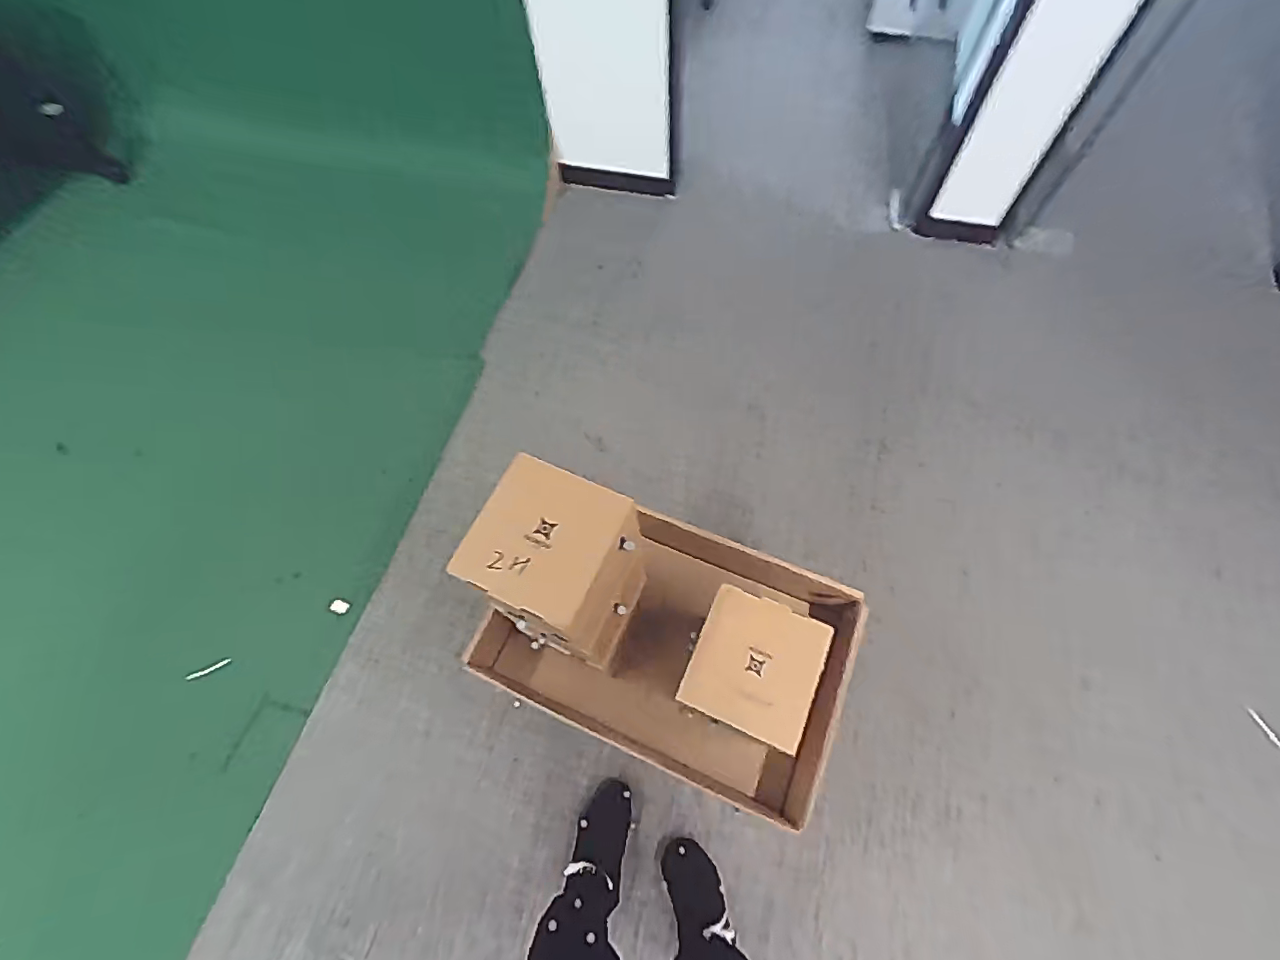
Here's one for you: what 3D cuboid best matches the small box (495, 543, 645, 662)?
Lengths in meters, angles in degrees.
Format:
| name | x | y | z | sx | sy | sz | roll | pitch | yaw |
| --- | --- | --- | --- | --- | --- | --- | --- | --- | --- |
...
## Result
| name | x | y | z | sx | sy | sz | roll | pitch | yaw |
| --- | --- | --- | --- | --- | --- | --- | --- | --- | --- |
| small box | -0.101 | 0.171 | 0.868 | 0.168 | 0.176 | 0.179 | 23 | 69 | 13 |

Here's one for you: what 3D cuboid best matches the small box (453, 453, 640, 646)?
| name | x | y | z | sx | sy | sz | roll | pitch | yaw |
| --- | --- | --- | --- | --- | --- | --- | --- | --- | --- |
| small box | -0.108 | 0.099 | 0.719 | 0.168 | 0.176 | 0.179 | 23 | 69 | 14 |

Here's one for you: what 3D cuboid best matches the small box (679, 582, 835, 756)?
| name | x | y | z | sx | sy | sz | roll | pitch | yaw |
| --- | --- | --- | --- | --- | --- | --- | --- | --- | --- |
| small box | 0.163 | 0.279 | 0.799 | 0.168 | 0.176 | 0.179 | 22 | 69 | 14 |
